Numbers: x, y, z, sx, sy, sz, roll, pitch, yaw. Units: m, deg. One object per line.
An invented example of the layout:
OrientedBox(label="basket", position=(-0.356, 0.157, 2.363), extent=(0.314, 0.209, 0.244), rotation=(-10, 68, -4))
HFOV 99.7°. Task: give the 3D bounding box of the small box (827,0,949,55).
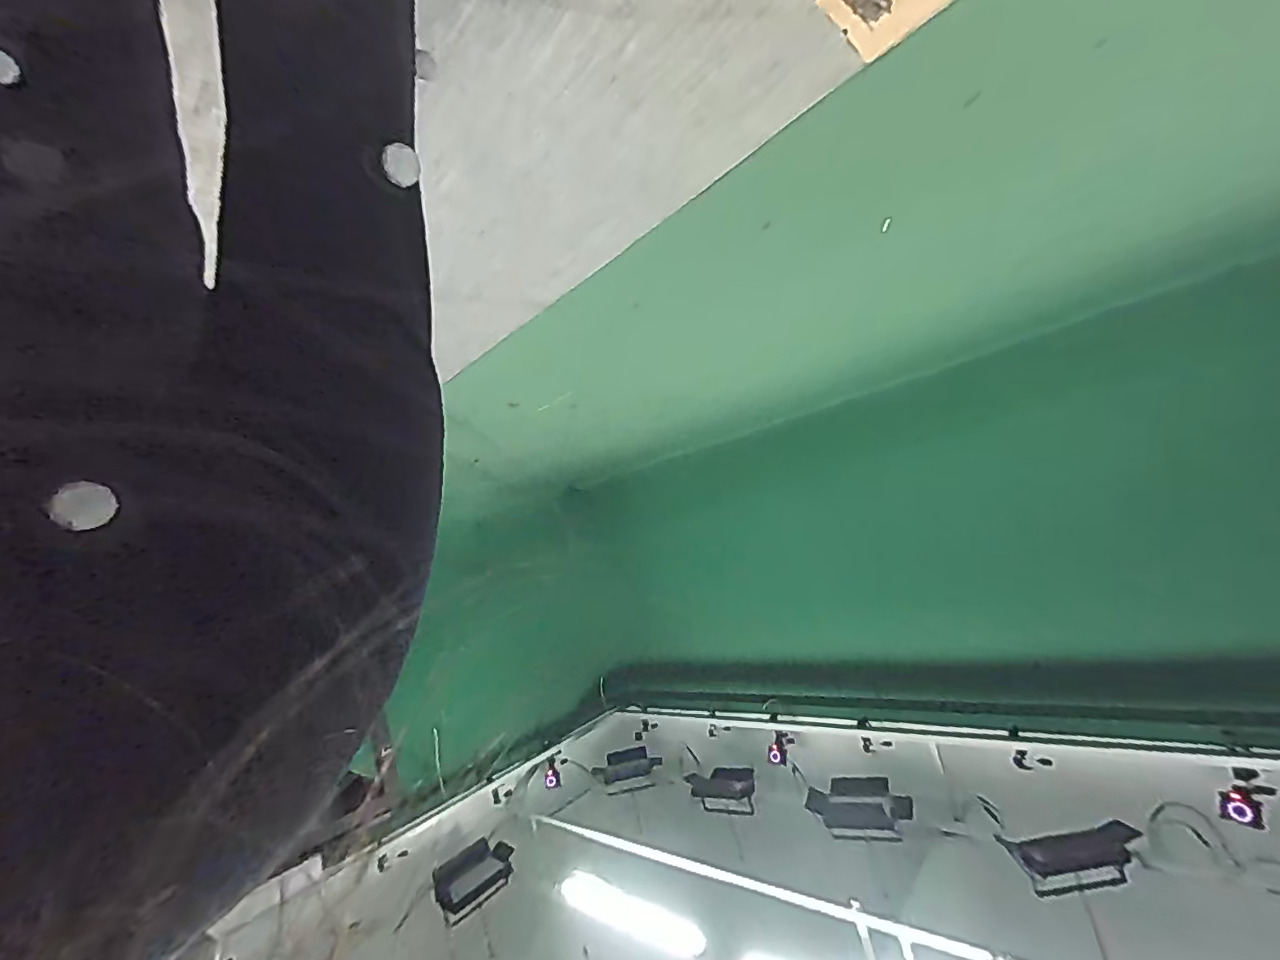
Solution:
OrientedBox(label="small box", position=(0.312, -0.684, 0.648), extent=(0.179, 0.176, 0.168), rotation=(-18, 173, 43))
